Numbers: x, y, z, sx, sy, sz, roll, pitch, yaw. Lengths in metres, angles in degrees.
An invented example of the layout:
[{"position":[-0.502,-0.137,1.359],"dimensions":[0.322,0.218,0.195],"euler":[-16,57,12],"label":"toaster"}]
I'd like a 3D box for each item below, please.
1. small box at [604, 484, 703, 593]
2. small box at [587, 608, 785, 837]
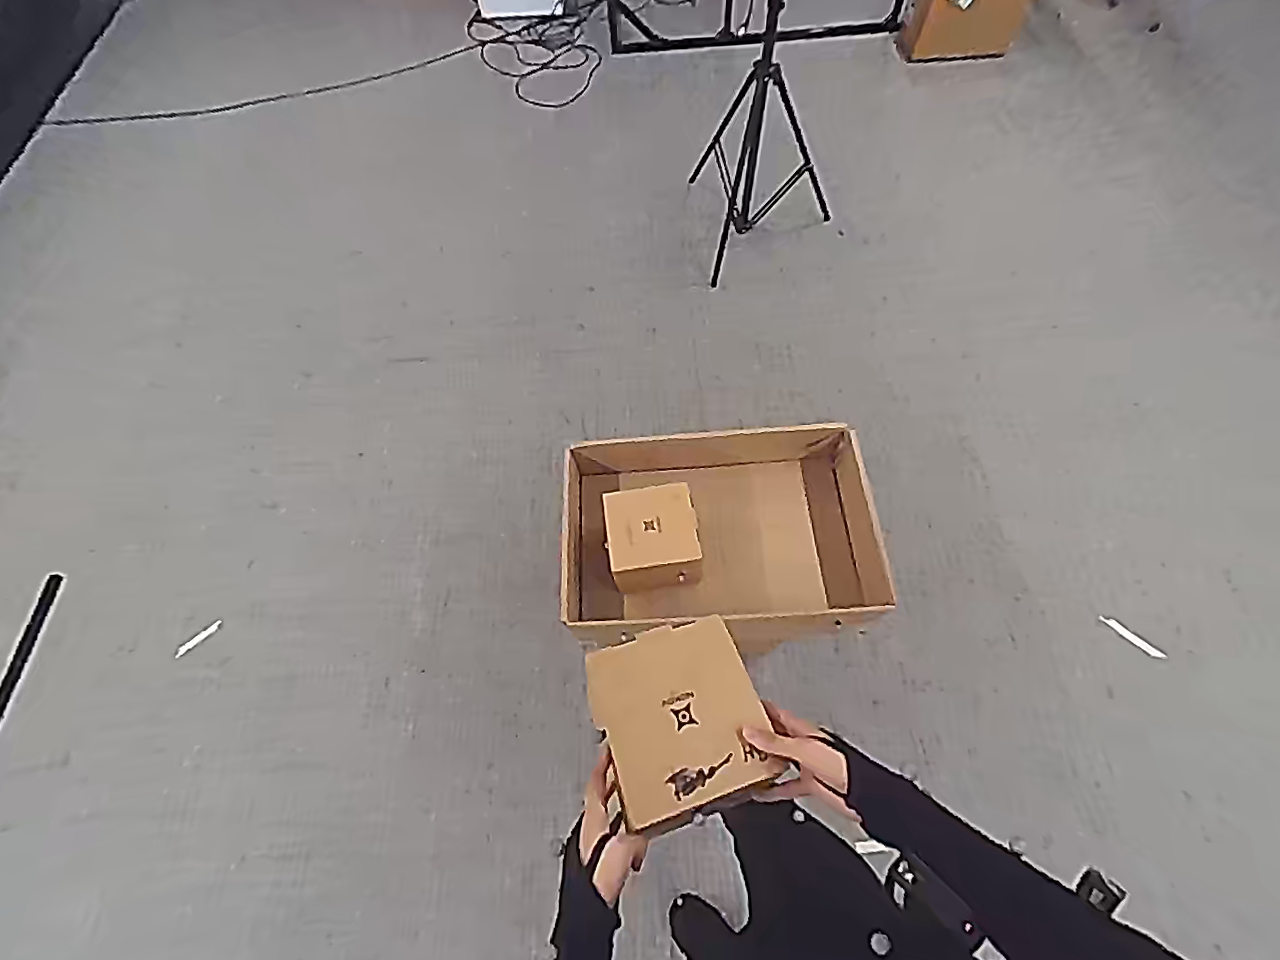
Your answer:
[{"position":[0.026,0.124,1.111],"dimensions":[0.179,0.176,0.168],"euler":[-8,63,0],"label":"small box"},{"position":[0.038,0.282,0.630],"dimensions":[0.168,0.176,0.179],"euler":[-13,52,-14],"label":"small box"}]
